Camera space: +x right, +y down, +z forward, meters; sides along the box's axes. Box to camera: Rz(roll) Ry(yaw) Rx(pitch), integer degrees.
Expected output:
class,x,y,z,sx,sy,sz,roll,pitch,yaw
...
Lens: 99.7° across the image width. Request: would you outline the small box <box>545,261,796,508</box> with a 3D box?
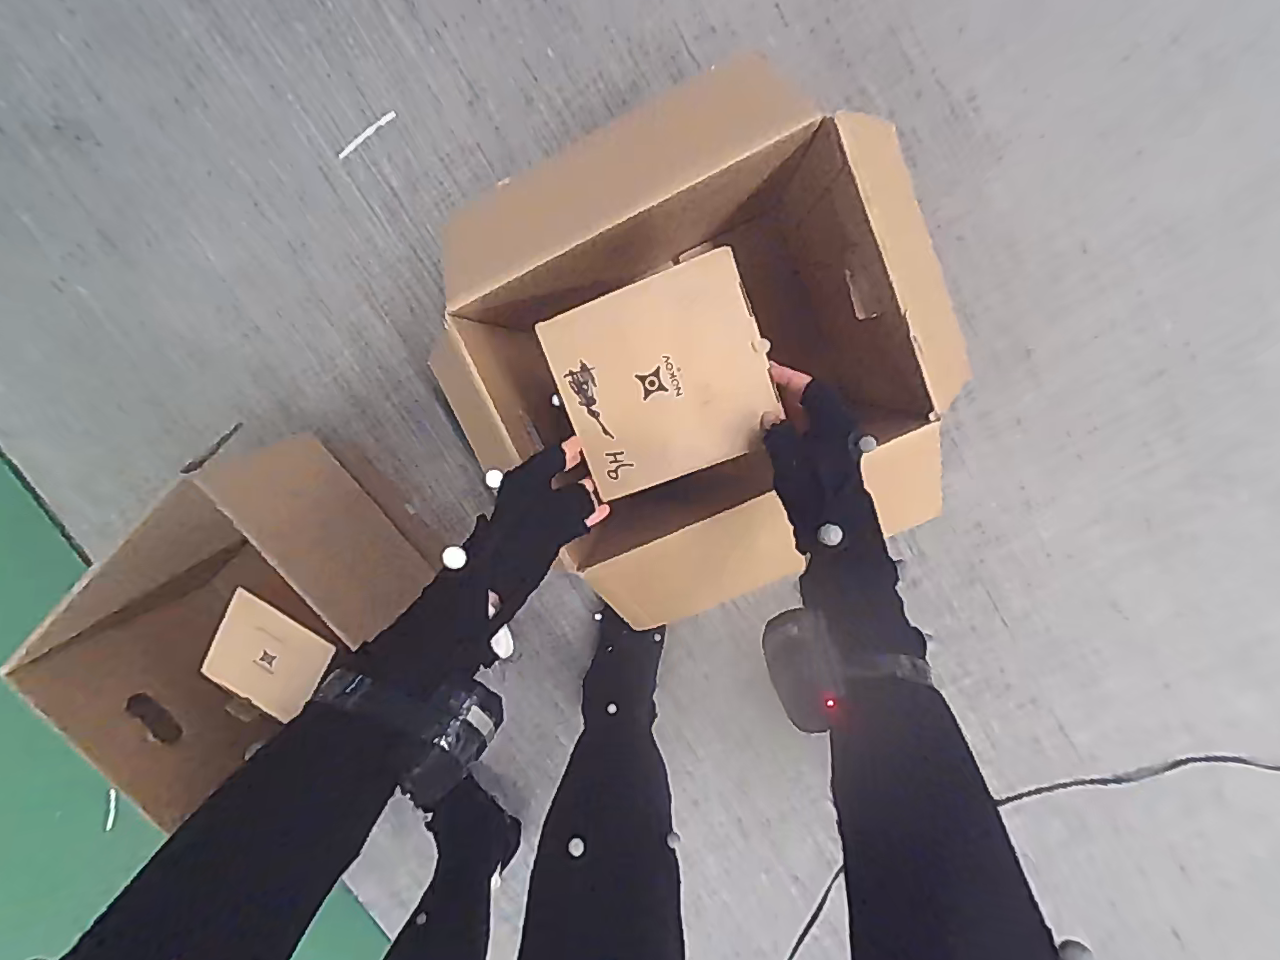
class,x,y,z,sx,sy,sz,roll,pitch,yaw
small box,0.032,-0.090,0.539,0.179,0.176,0.168,-20,96,9
